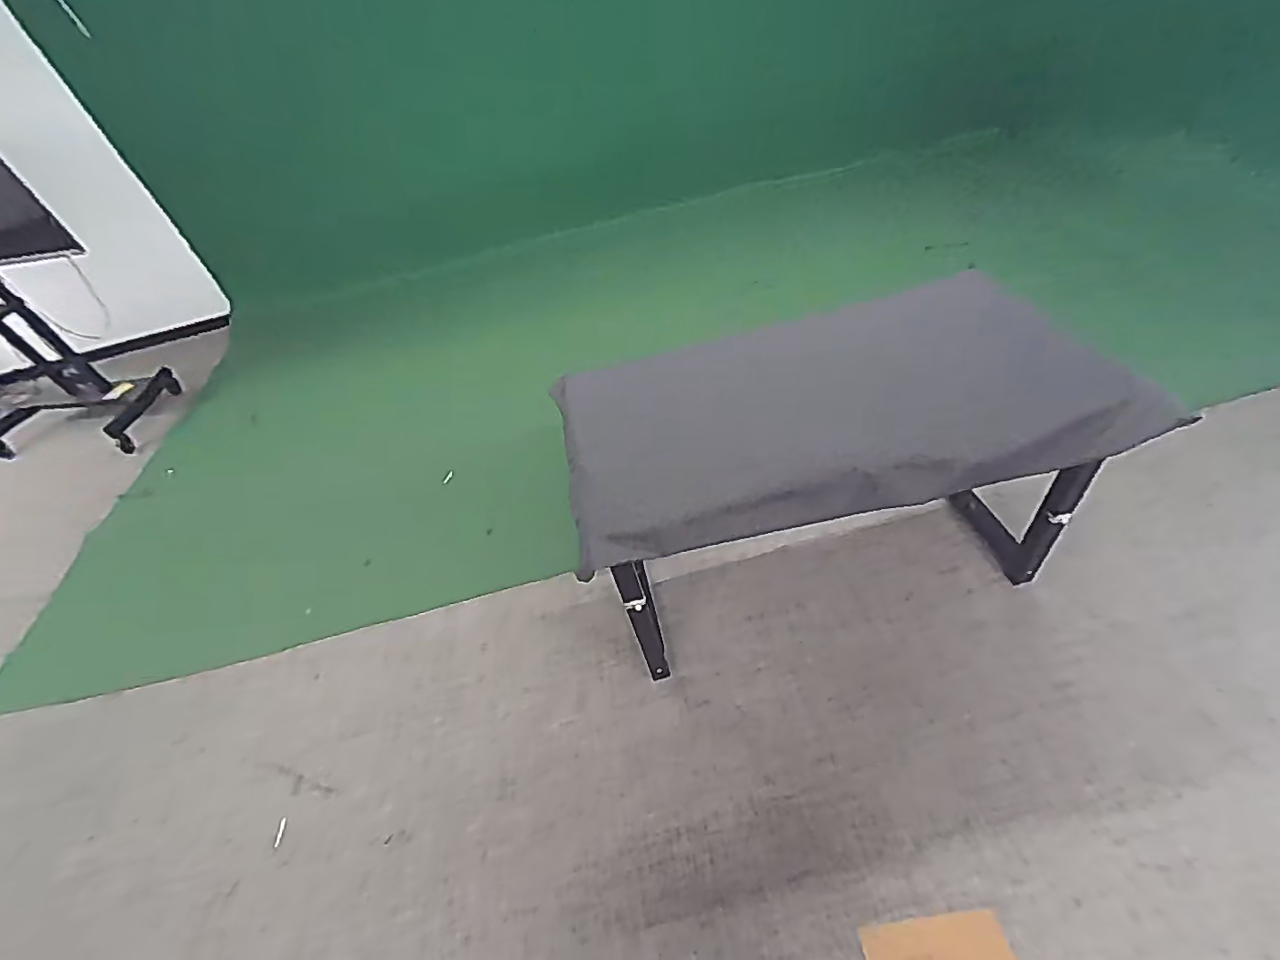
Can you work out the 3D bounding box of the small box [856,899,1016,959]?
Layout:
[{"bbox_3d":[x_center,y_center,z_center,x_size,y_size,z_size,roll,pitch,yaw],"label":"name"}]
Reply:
[{"bbox_3d":[0.378,0.647,0.629,0.168,0.176,0.179,-18,15,10],"label":"small box"}]
